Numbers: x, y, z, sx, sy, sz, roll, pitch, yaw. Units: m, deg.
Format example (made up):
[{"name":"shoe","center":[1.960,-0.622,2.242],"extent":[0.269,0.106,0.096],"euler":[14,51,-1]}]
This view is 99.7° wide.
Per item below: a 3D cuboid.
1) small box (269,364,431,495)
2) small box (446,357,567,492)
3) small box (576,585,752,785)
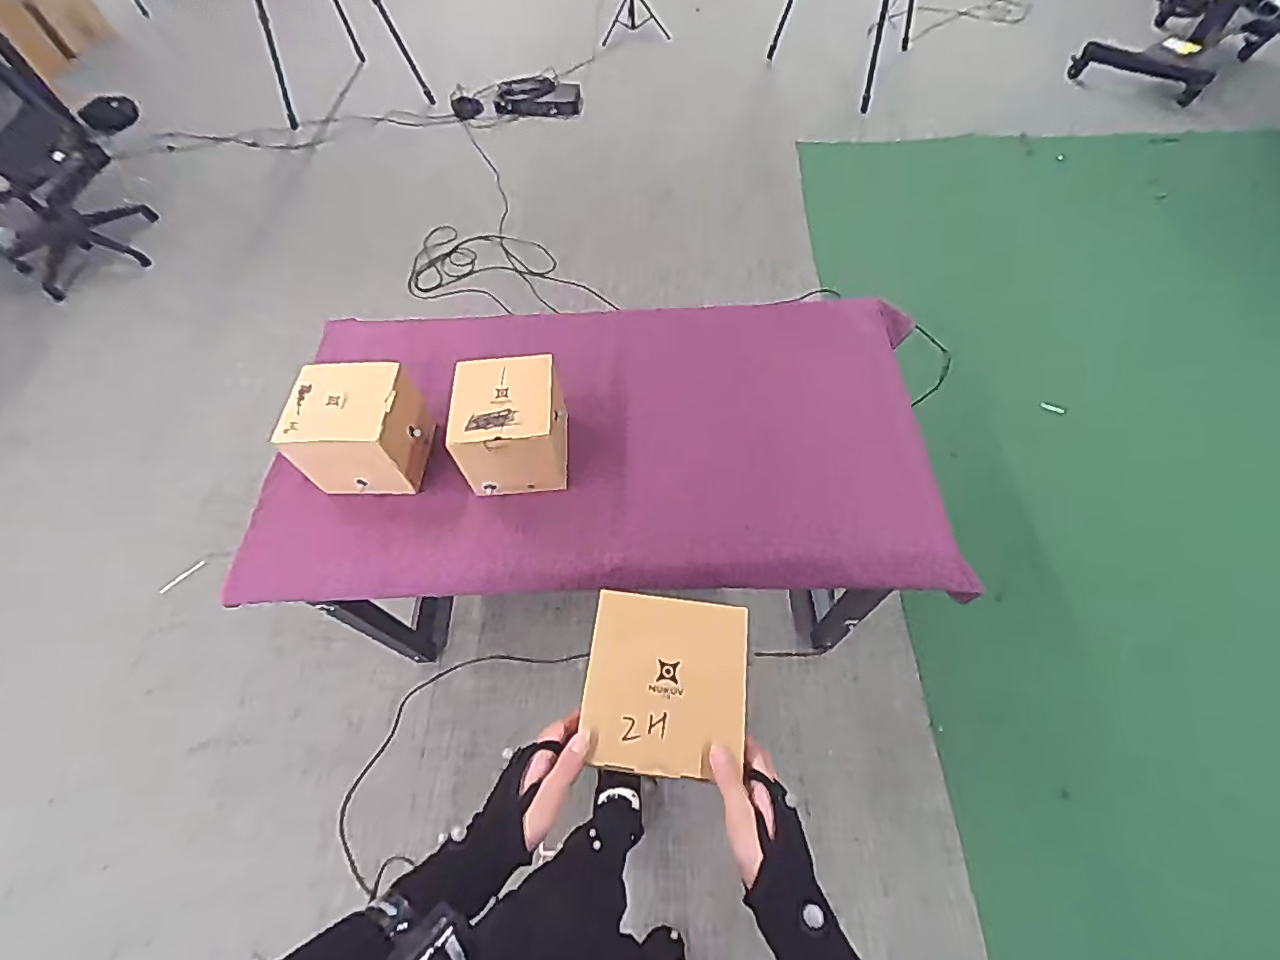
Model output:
[{"name":"small box","center":[-0.488,-0.084,0.947],"extent":[0.179,0.176,0.168],"euler":[0,59,1]},{"name":"small box","center":[-0.220,-0.088,0.940],"extent":[0.168,0.176,0.179],"euler":[-4,58,-1]},{"name":"small box","center":[0.028,0.240,0.624],"extent":[0.168,0.176,0.179],"euler":[7,61,3]}]
